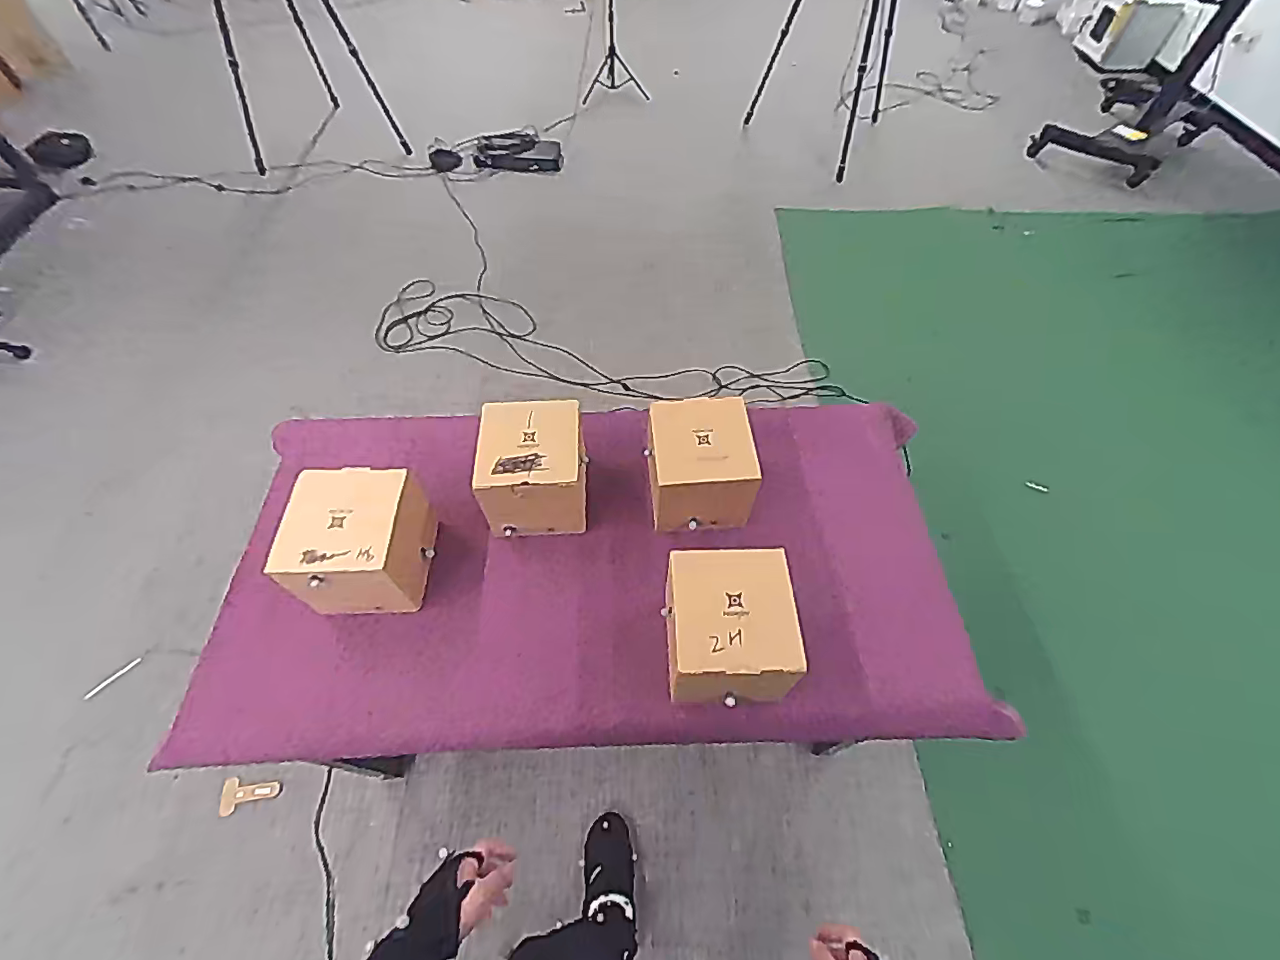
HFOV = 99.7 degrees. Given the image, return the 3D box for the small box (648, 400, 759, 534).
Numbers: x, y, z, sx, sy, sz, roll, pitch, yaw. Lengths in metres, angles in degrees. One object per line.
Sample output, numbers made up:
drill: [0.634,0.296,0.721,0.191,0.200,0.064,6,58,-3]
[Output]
small box: [0.102,-0.020,0.961,0.168,0.176,0.179,-3,57,-2]

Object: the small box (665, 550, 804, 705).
small box: [0.125,0.219,0.795,0.168,0.176,0.179,-1,55,-1]

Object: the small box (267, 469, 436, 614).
small box: [-0.442,0.101,0.866,0.168,0.176,0.179,-2,56,0]

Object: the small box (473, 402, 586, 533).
small box: [-0.183,-0.015,0.950,0.168,0.176,0.179,-2,55,-2]
